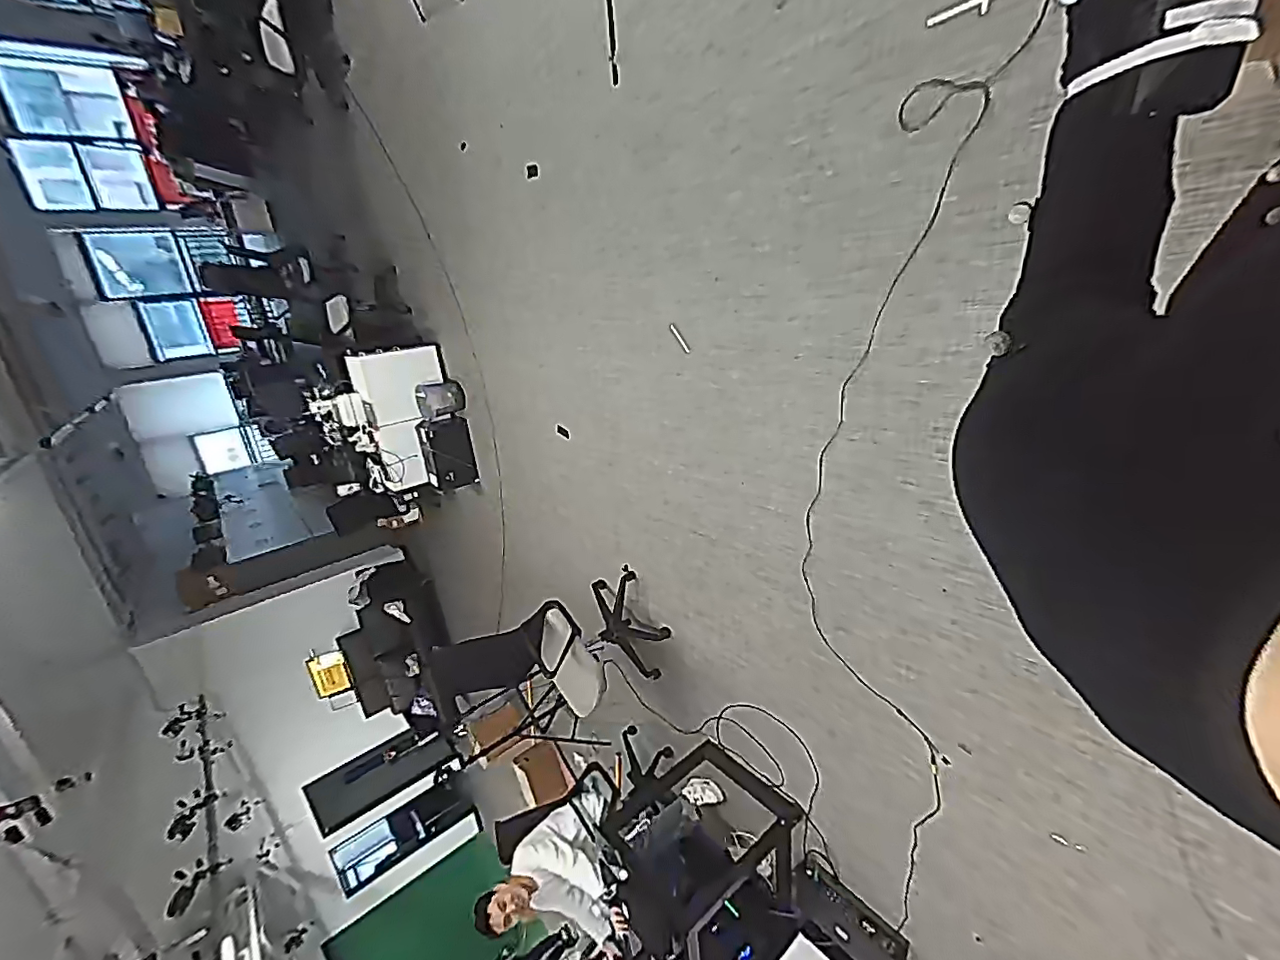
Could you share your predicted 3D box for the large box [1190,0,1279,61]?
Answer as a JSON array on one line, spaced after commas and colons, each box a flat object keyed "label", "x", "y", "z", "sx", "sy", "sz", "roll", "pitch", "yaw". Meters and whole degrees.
[{"label": "large box", "x": 0.567, "y": -0.469, "z": 0.247, "sx": 0.408, "sy": 0.320, "sz": 0.320, "roll": 14, "pitch": 120, "yaw": 46}]
